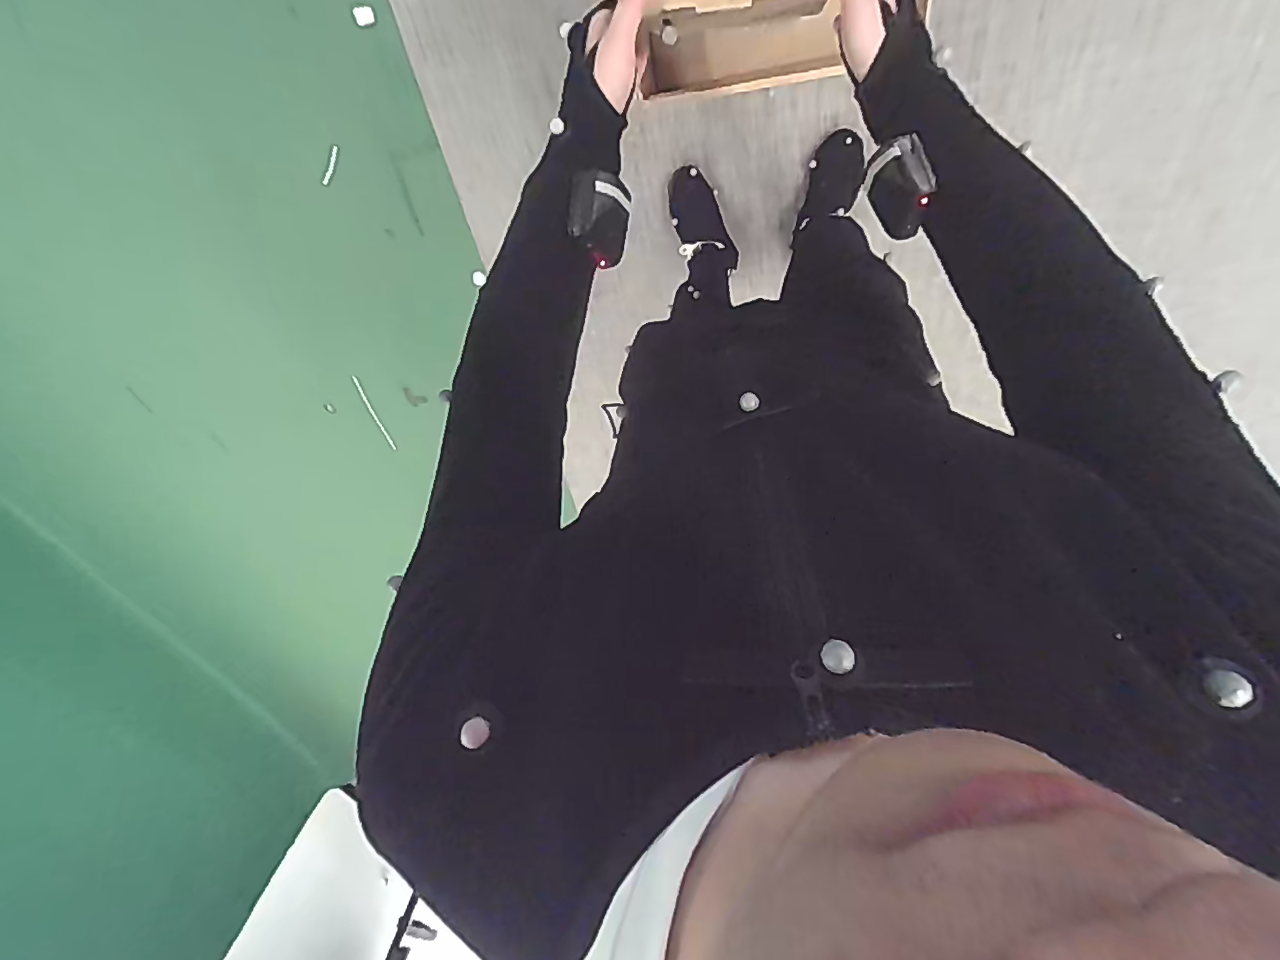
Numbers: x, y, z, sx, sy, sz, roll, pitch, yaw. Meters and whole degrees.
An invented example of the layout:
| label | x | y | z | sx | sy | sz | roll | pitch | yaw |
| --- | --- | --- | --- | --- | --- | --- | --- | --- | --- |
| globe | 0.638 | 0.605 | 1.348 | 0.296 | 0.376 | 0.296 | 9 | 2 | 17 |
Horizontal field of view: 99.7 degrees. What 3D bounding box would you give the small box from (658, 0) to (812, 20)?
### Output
| label | x | y | z | sx | sy | sz | roll | pitch | yaw |
| --- | --- | --- | --- | --- | --- | --- | --- | --- | --- |
| small box | 0.110 | -0.609 | 0.573 | 0.168 | 0.176 | 0.179 | 3 | 127 | 10 |
